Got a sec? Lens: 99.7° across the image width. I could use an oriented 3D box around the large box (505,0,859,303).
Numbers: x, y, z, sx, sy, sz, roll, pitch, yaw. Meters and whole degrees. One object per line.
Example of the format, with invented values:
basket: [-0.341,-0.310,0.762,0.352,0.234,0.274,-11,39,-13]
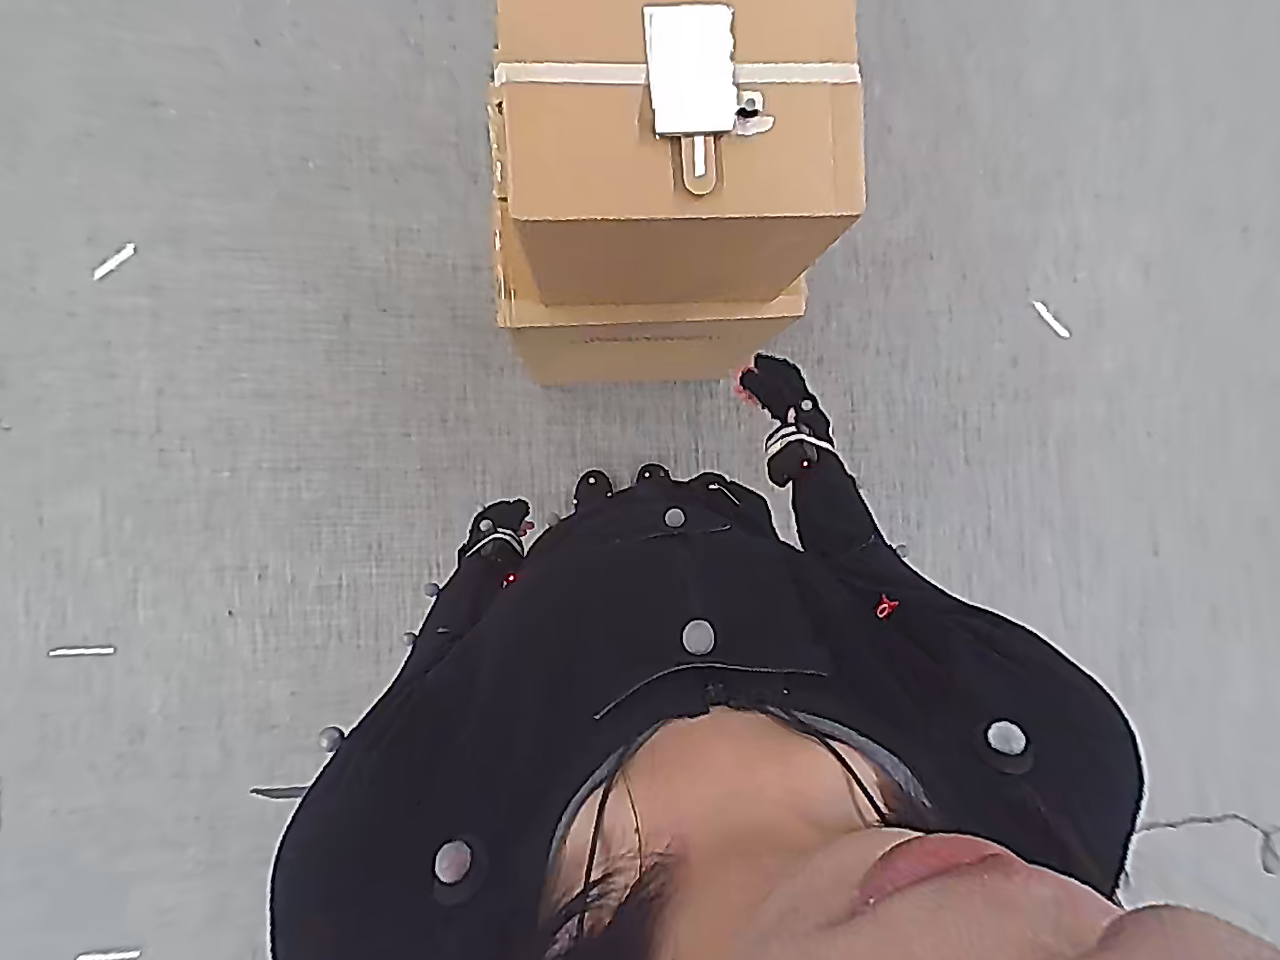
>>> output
large box: [0.038,-0.459,0.768,0.408,0.320,0.320,-3,91,-6]
